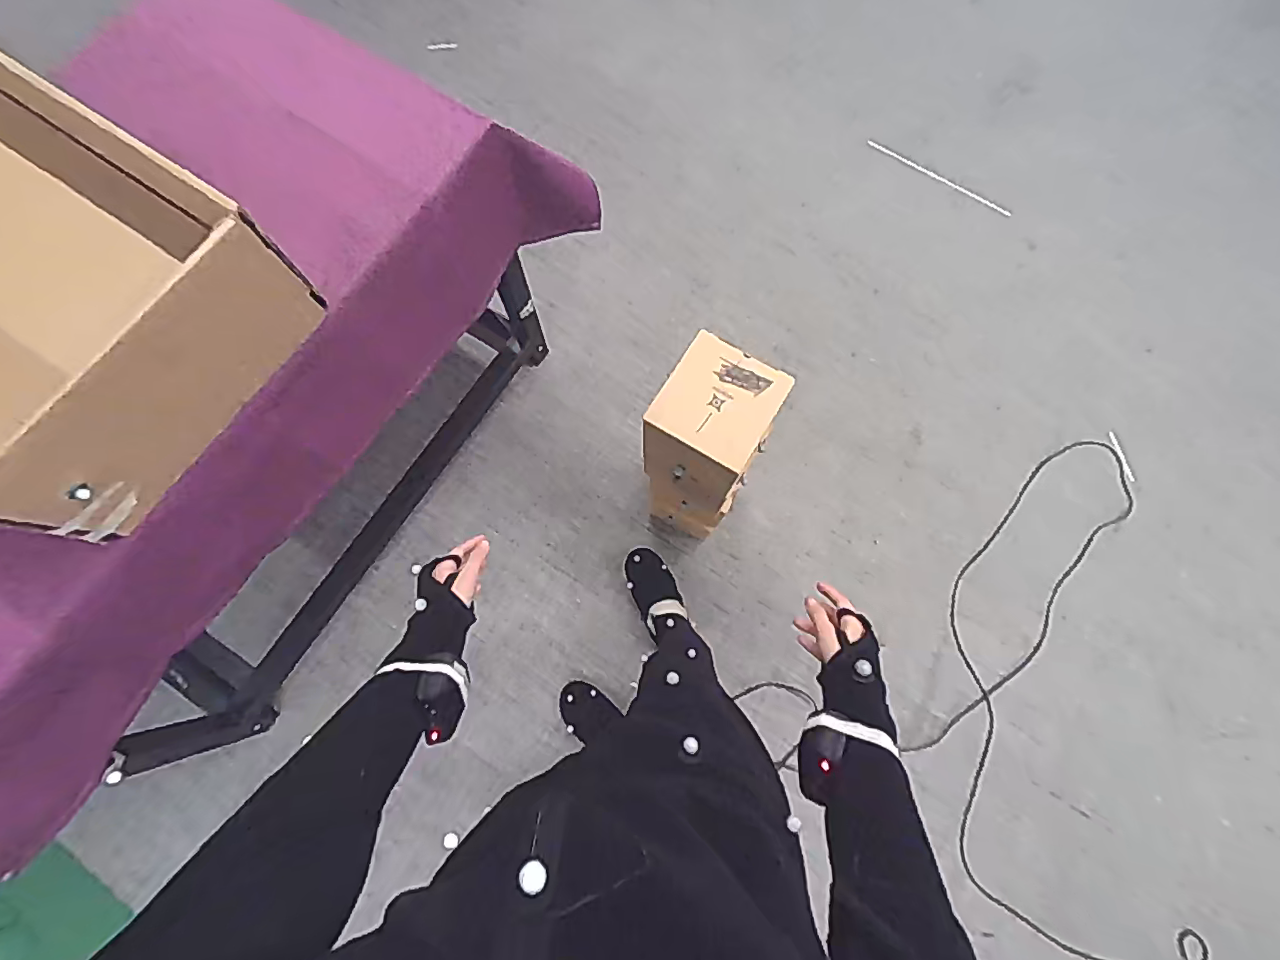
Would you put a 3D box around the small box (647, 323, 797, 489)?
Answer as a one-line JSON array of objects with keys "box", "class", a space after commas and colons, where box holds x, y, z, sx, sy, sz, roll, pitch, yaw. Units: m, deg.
[{"box": [0.121, -0.110, 0.874, 0.168, 0.176, 0.179, 31, 79, 8], "class": "small box"}]

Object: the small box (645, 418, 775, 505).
[{"box": [0.125, -0.071, 1.033, 0.179, 0.176, 0.168, 33, 79, 8], "class": "small box"}]

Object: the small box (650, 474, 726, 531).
[{"box": [0.135, 0.012, 1.353, 0.168, 0.176, 0.179, 26, 78, 6], "class": "small box"}]
